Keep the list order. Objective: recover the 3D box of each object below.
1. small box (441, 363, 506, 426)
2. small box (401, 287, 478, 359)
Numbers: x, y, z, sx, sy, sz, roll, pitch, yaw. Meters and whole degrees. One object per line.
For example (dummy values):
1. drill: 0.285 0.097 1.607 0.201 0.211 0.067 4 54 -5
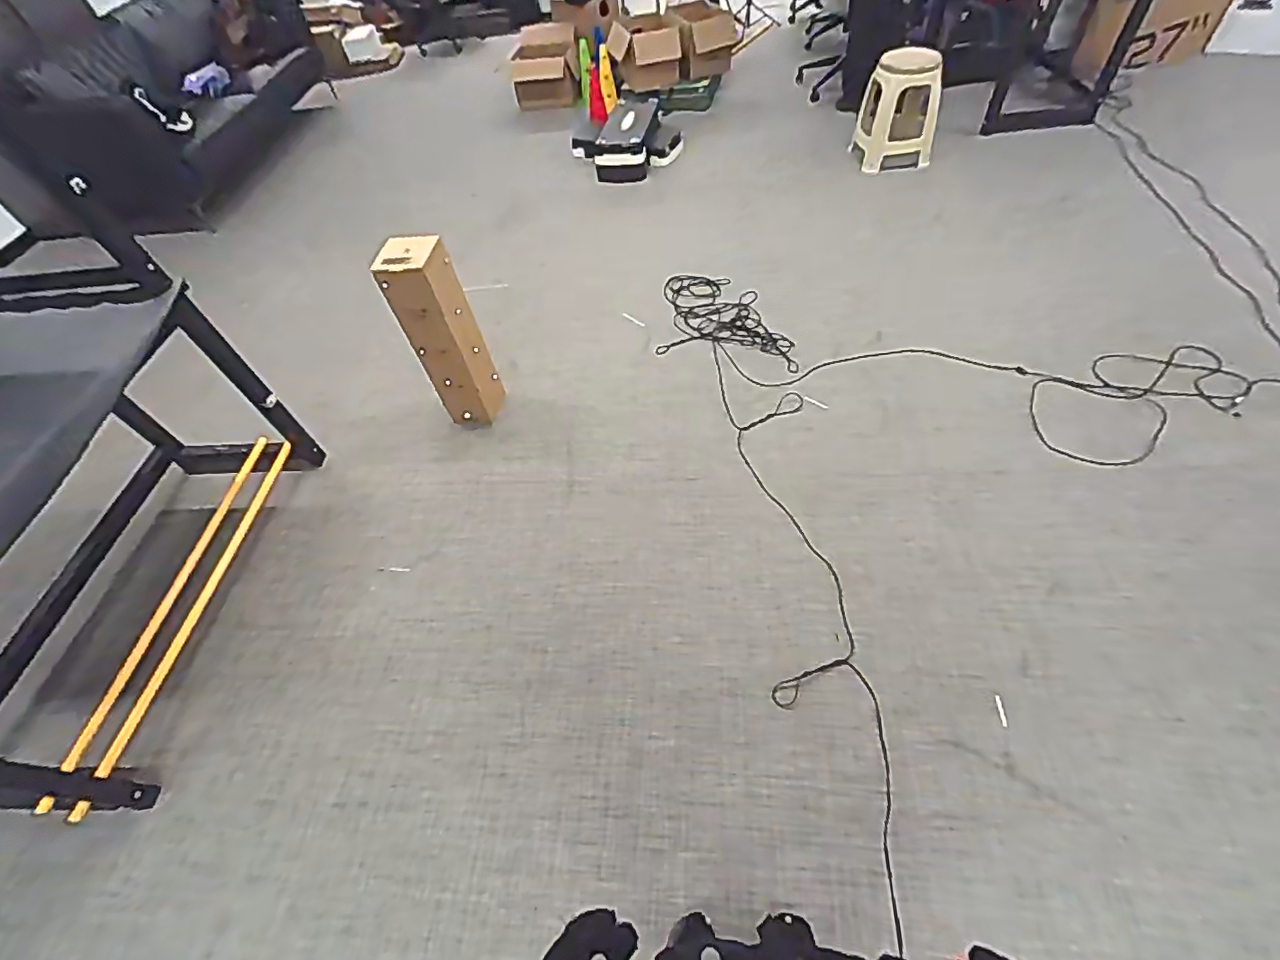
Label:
1. small box: -0.630 -0.329 2.080 0.168 0.176 0.179 3 54 10
2. small box: -0.666 -0.524 1.821 0.168 0.176 0.179 1 53 8
